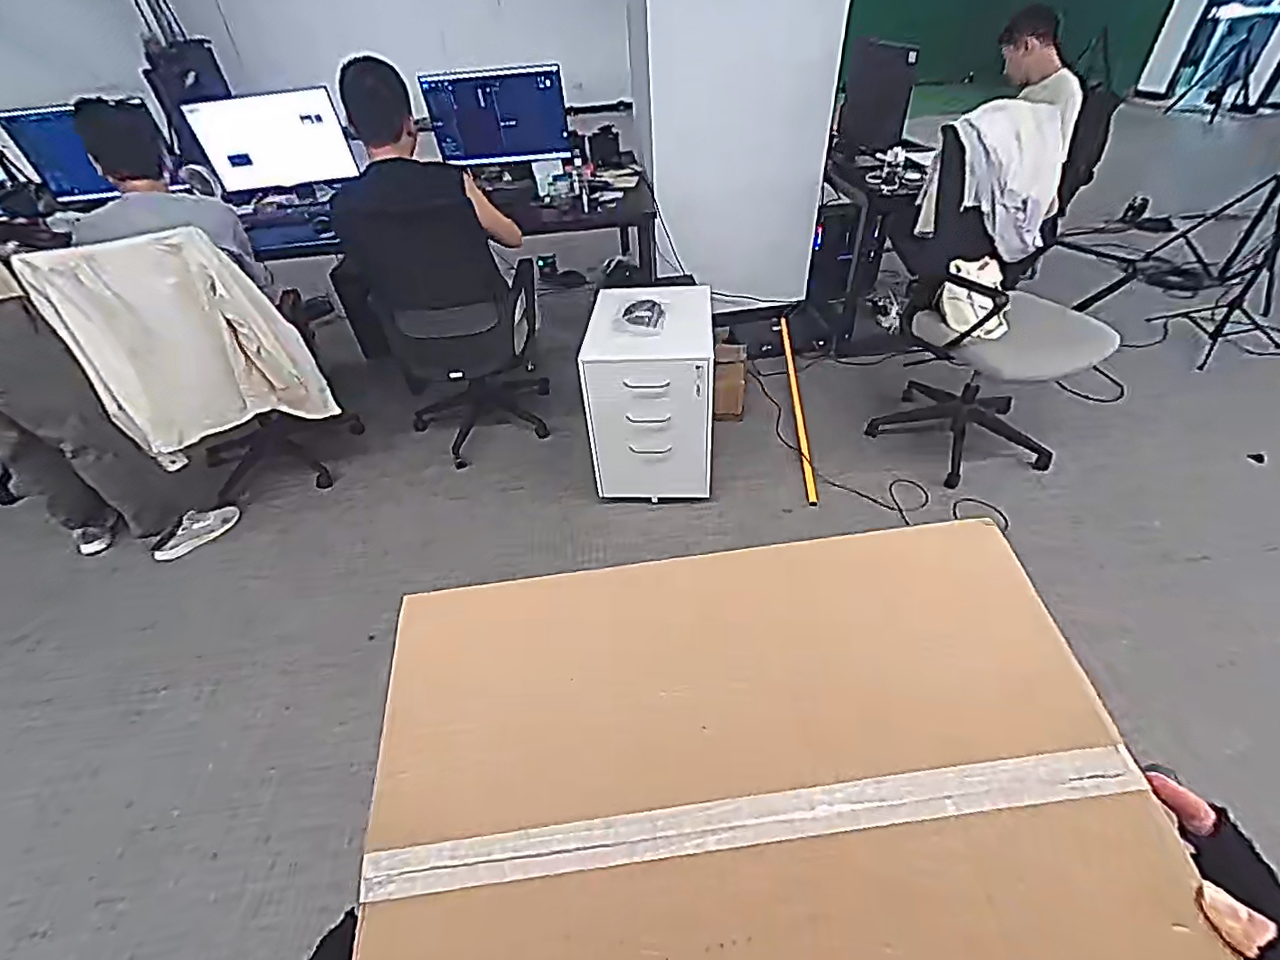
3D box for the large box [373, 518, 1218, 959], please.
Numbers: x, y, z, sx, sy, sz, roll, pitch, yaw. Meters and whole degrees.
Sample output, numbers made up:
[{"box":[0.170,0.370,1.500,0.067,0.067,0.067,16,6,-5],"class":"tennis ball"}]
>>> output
[{"box":[0.067,0.264,0.417,0.408,0.320,0.320,-8,56,0],"class":"large box"}]
